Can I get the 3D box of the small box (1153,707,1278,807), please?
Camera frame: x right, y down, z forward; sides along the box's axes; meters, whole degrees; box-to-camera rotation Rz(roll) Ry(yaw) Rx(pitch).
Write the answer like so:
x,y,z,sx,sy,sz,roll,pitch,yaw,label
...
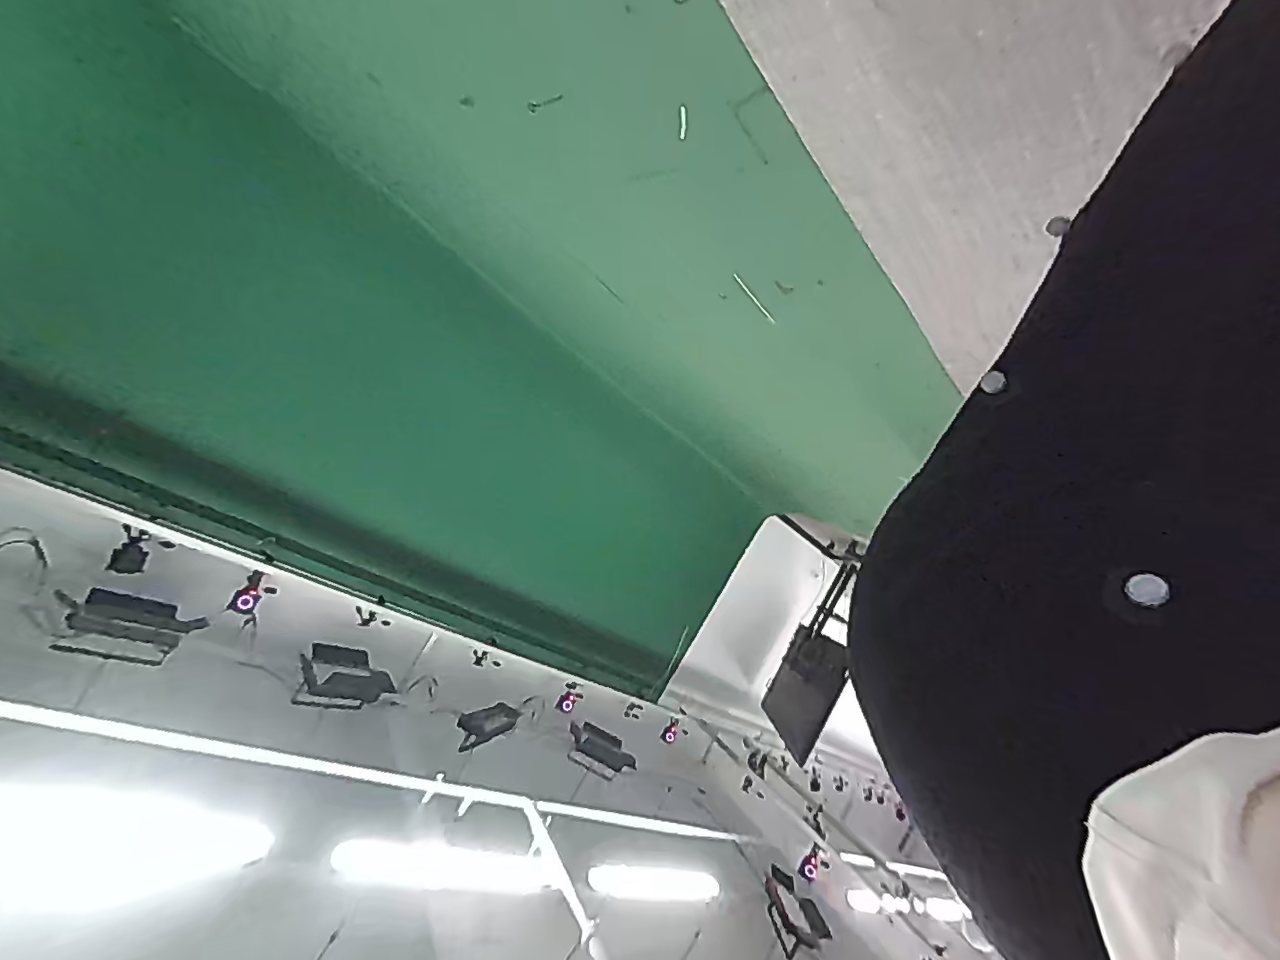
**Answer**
x,y,z,sx,sy,sz,roll,pitch,yaw,label
1.486,0.710,1.405,0.168,0.176,0.179,34,173,-42,small box
